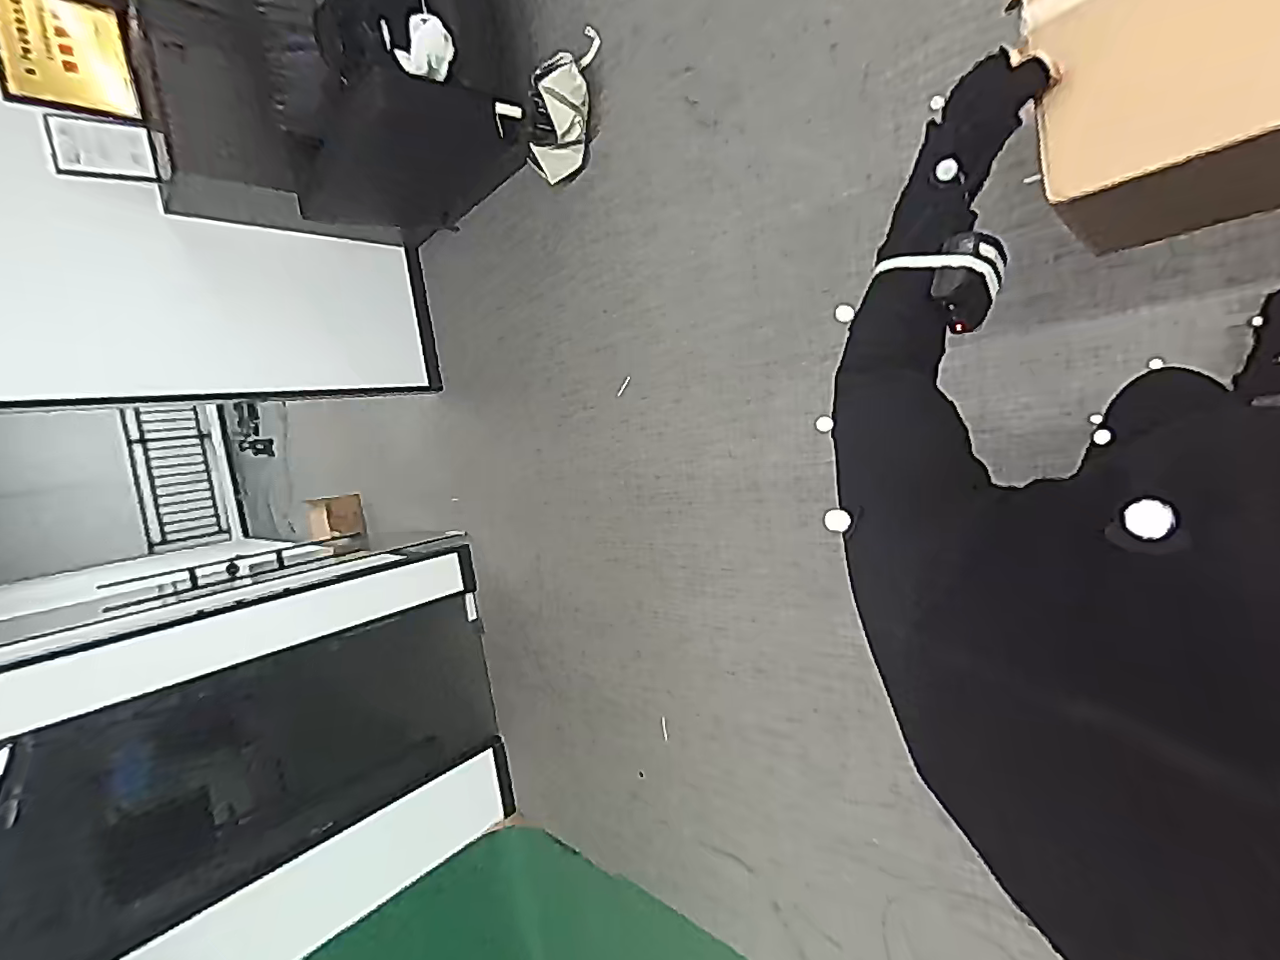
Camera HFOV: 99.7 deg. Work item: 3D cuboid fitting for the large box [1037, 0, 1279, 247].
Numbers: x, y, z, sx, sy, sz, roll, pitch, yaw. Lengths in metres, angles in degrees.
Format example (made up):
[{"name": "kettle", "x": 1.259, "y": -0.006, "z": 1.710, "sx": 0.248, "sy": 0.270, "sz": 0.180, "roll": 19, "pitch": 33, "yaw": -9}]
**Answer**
[{"name": "large box", "x": 0.583, "y": -0.434, "z": 0.427, "sx": 0.408, "sy": 0.320, "sz": 0.320, "roll": -6, "pitch": 94, "yaw": 46}]
